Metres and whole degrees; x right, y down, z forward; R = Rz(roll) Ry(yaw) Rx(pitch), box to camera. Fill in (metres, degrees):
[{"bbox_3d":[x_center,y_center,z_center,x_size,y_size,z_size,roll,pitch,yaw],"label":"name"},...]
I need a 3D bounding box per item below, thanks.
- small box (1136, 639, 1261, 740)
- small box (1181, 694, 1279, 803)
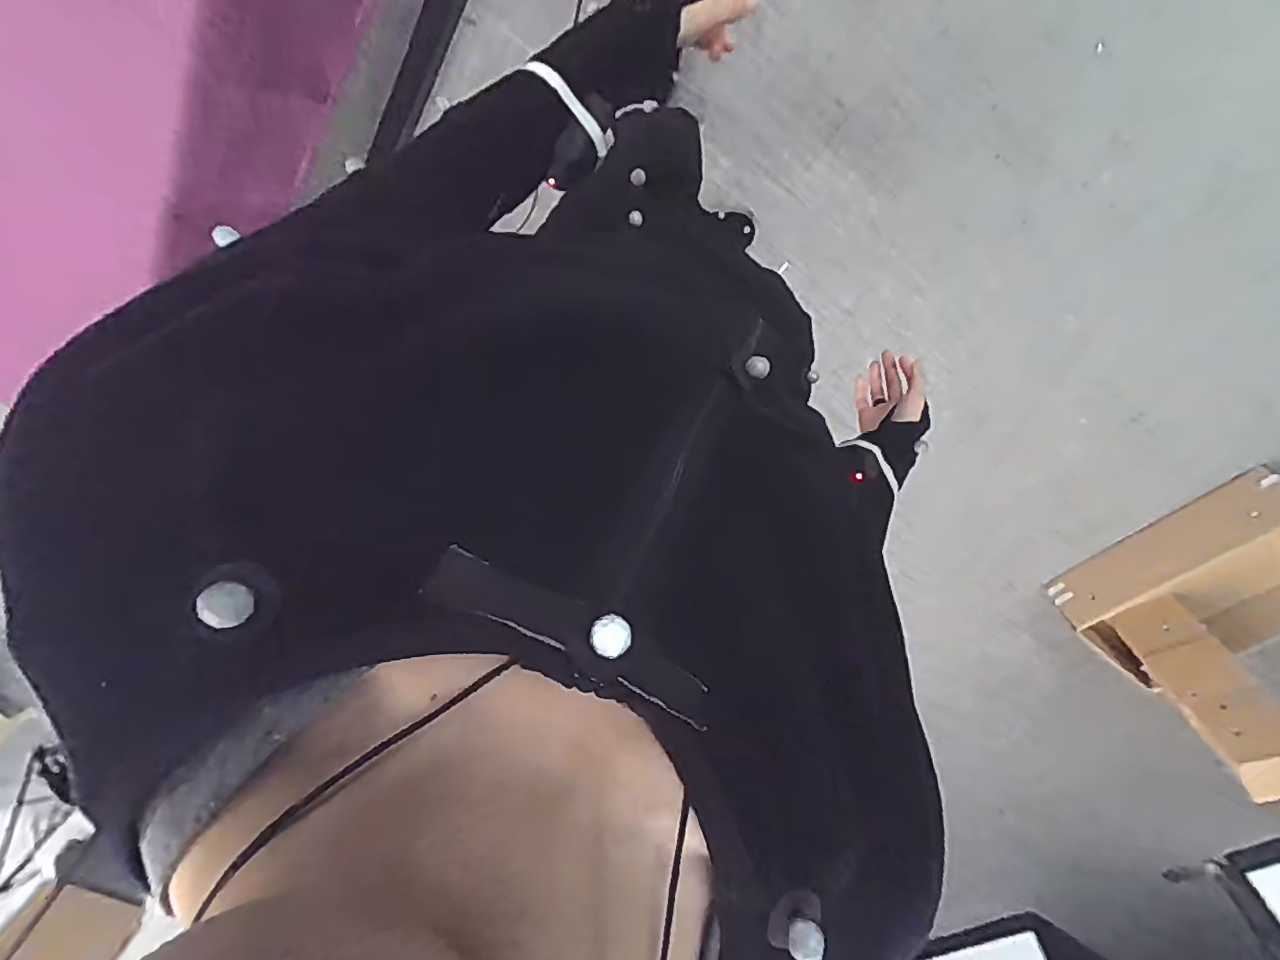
[{"bbox_3d":[1.525,0.565,1.472,0.179,0.176,0.168,-35,111,25],"label":"small box"},{"bbox_3d":[1.505,0.654,1.336,0.168,0.176,0.179,-32,113,25],"label":"small box"}]
